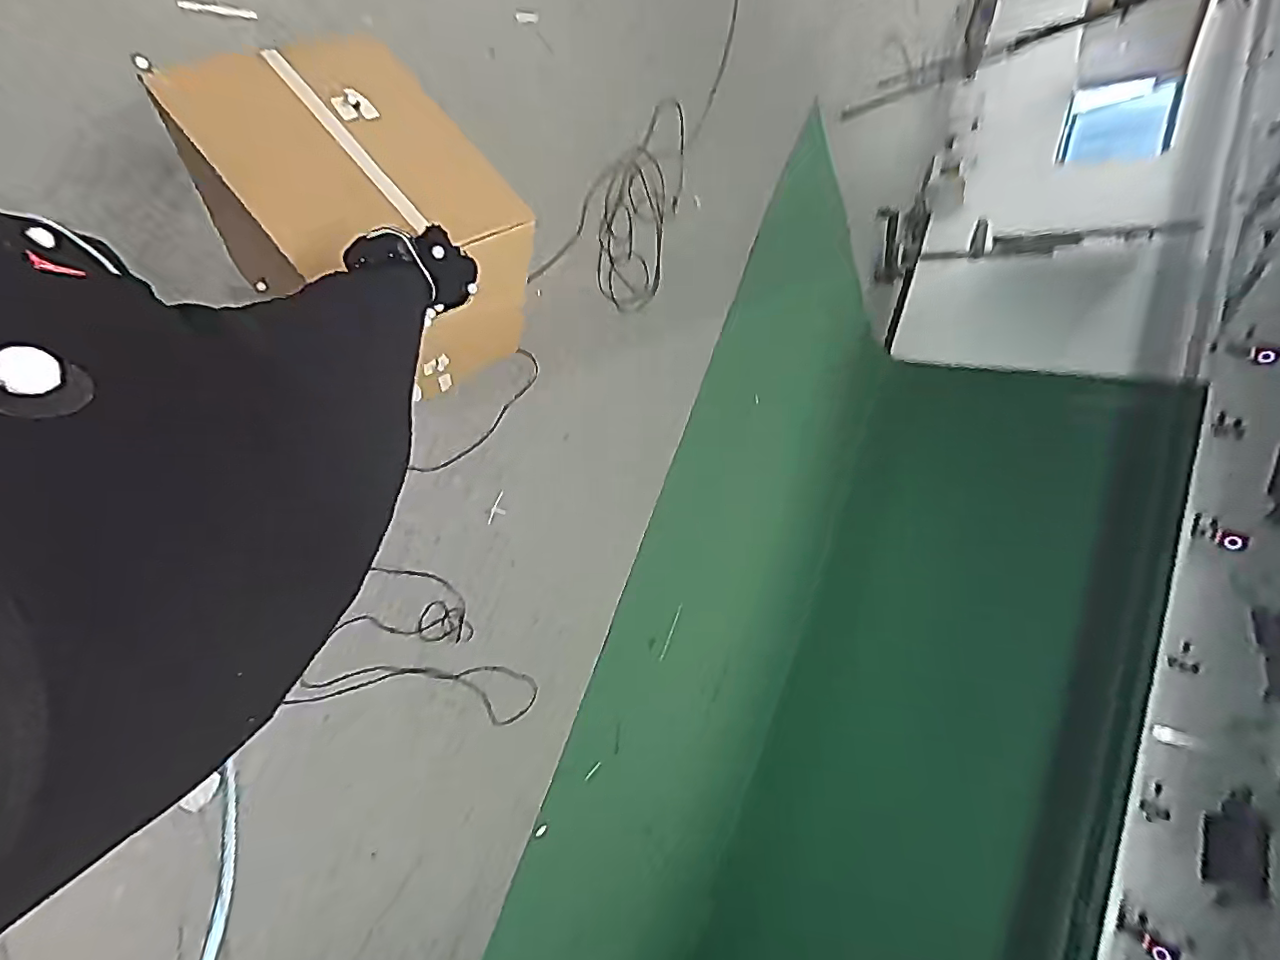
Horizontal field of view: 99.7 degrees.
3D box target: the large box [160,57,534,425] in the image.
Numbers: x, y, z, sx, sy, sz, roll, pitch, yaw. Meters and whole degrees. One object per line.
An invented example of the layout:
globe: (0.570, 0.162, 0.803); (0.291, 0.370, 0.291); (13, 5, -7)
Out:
large box: (-0.426, -0.371, 0.872); (0.320, 0.408, 0.320); (-36, 170, -29)
